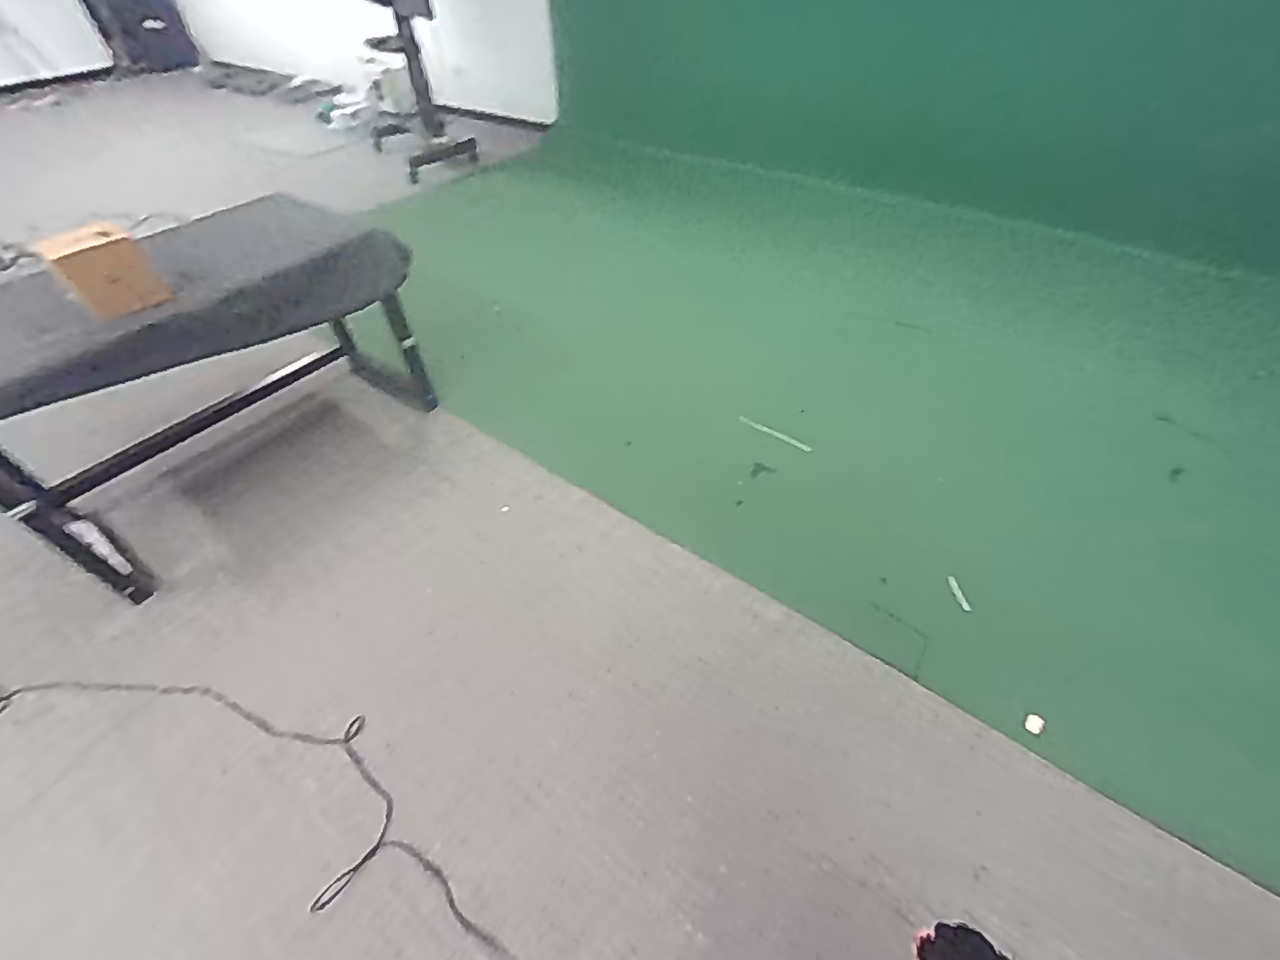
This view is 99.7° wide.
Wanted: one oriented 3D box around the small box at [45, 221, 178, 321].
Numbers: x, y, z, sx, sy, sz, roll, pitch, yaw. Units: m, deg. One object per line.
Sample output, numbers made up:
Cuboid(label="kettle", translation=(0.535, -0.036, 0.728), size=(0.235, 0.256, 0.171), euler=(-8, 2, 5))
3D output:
Cuboid(label="small box", translation=(-1.359, -0.542, 1.405), size=(0.168, 0.176, 0.179), euler=(30, 55, 27))
